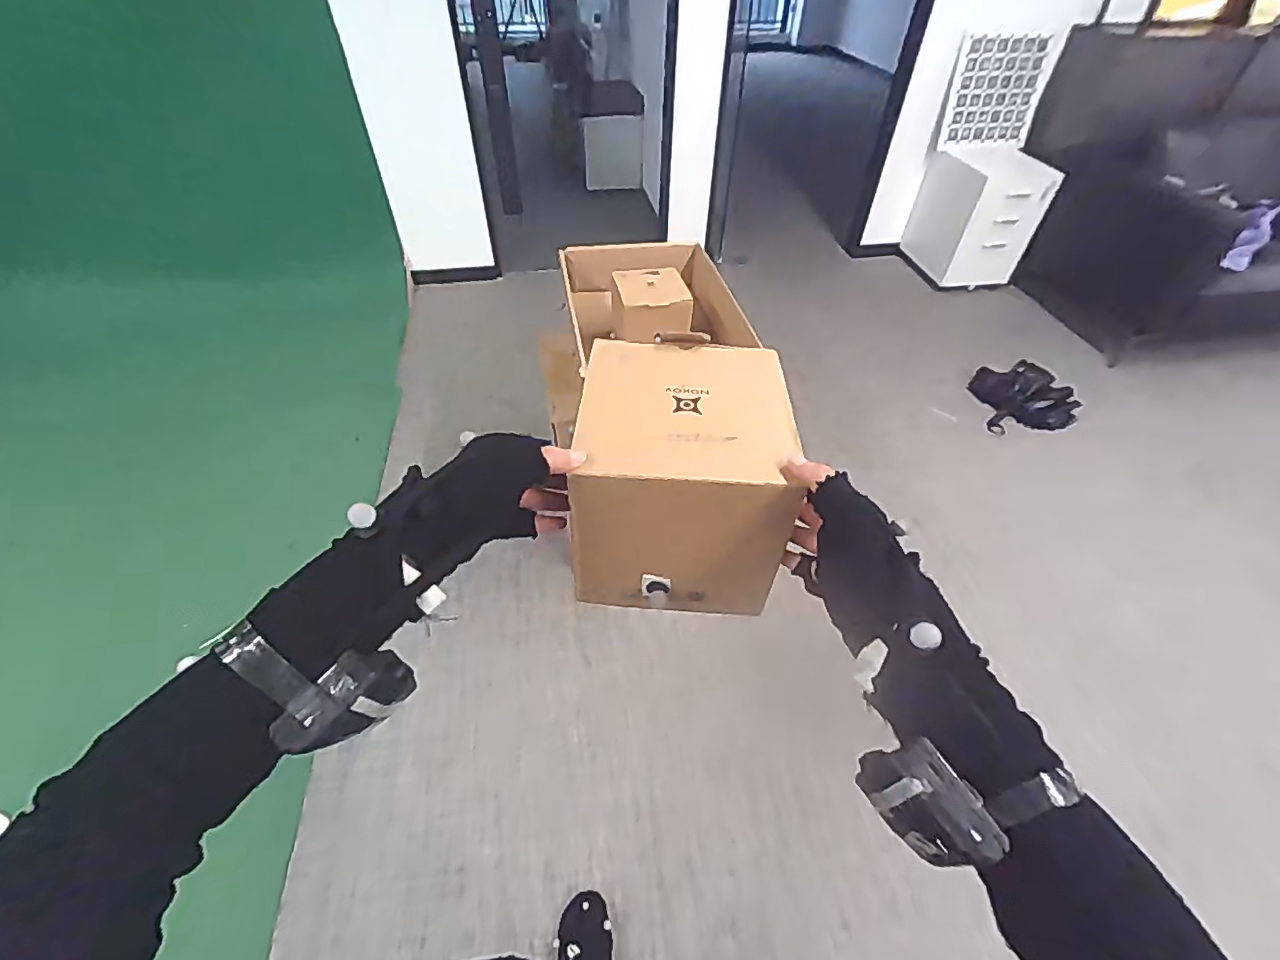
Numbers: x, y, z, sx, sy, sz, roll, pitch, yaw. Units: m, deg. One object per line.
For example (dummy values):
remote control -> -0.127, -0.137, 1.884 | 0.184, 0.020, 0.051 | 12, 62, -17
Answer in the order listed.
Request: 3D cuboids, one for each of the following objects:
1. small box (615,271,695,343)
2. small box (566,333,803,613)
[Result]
small box -> 0.033, -0.399, 1.350 | 0.168, 0.176, 0.179 | -7, 47, -9
small box -> 0.031, -0.007, 0.480 | 0.168, 0.176, 0.179 | 4, 45, 1
